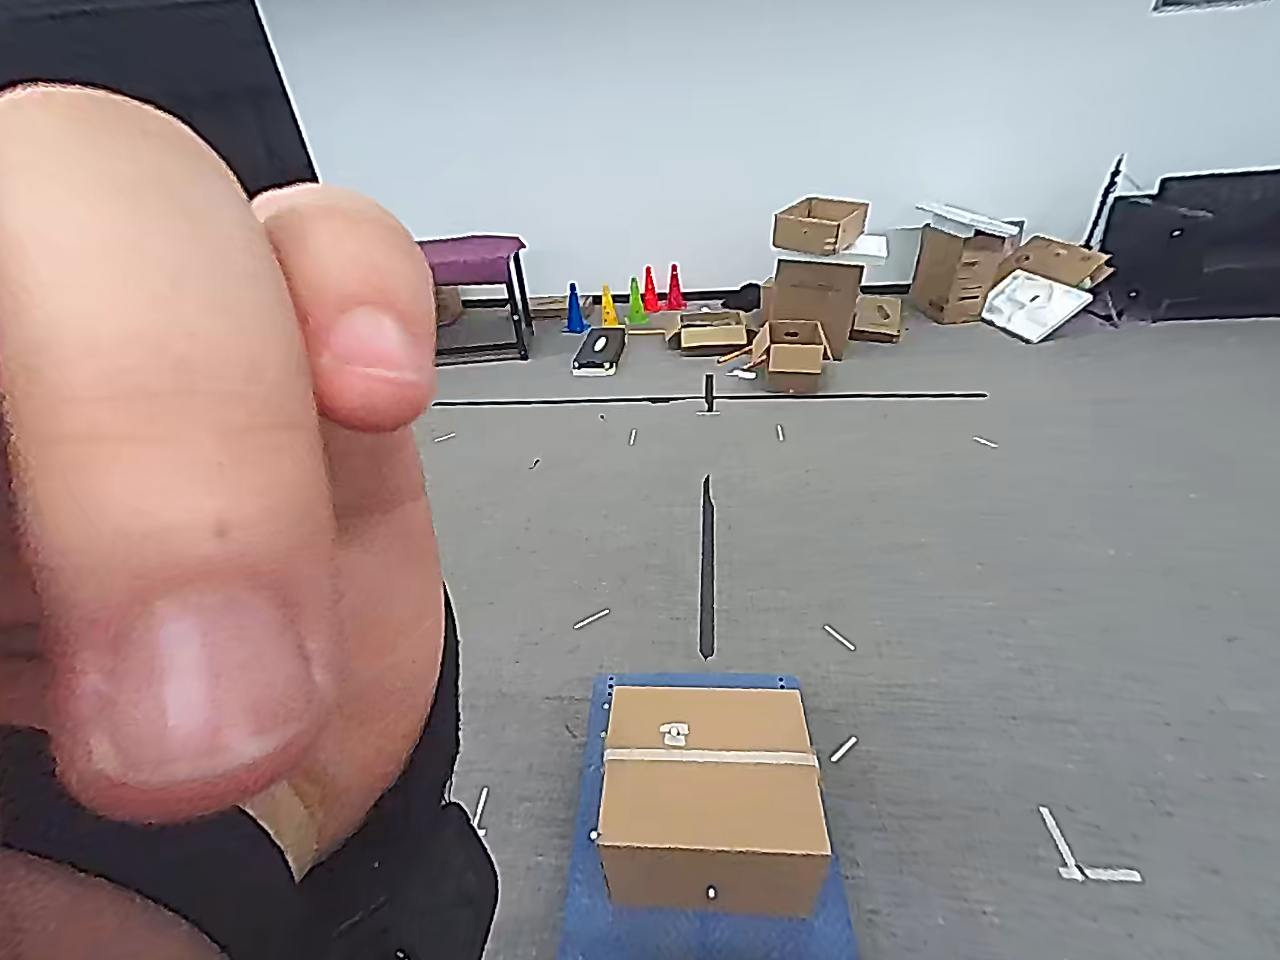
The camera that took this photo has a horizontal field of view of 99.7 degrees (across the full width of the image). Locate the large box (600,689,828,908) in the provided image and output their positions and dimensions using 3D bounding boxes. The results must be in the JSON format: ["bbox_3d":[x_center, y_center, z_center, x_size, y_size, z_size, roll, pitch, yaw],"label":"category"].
[{"bbox_3d":[0.147,0.672,1.149,0.408,0.320,0.320,-2,35,5],"label":"large box"}]
